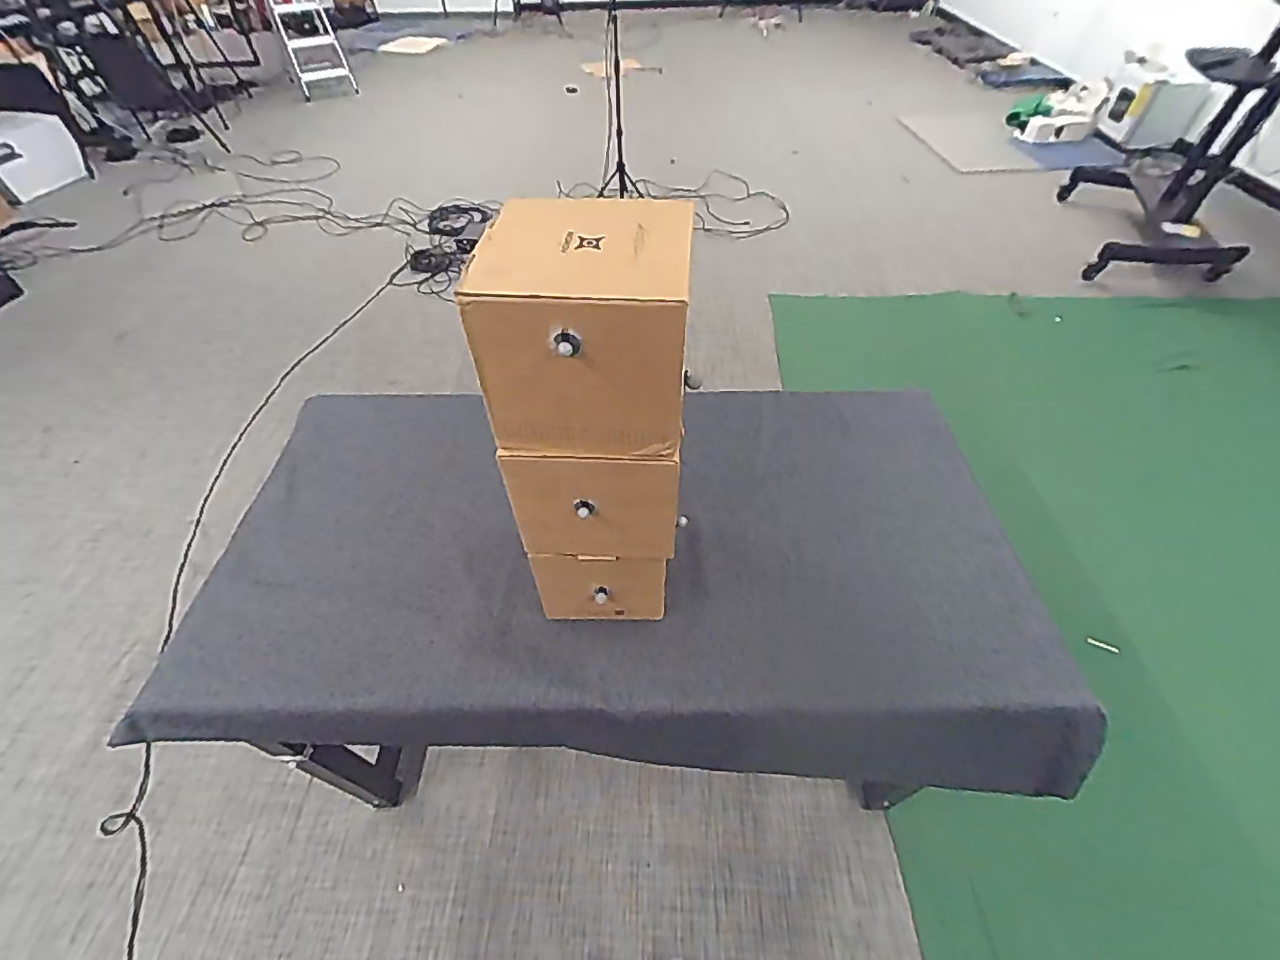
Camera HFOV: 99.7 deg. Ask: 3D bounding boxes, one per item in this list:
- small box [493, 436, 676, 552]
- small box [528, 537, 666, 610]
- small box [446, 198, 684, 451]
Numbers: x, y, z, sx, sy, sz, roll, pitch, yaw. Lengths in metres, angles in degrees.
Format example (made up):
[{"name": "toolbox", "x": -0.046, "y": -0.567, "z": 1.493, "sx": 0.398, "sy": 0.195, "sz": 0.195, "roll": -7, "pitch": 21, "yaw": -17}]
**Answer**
[{"name": "small box", "x": -0.047, "y": -0.030, "z": 0.622, "sx": 0.179, "sy": 0.176, "sz": 0.168, "roll": 0, "pitch": 49, "yaw": 4}, {"name": "small box", "x": -0.049, "y": 0.071, "z": 0.752, "sx": 0.168, "sy": 0.176, "sz": 0.179, "roll": -2, "pitch": 50, "yaw": 1}, {"name": "small box", "x": -0.050, "y": -0.141, "z": 0.504, "sx": 0.179, "sy": 0.176, "sz": 0.168, "roll": 2, "pitch": 50, "yaw": 4}]
